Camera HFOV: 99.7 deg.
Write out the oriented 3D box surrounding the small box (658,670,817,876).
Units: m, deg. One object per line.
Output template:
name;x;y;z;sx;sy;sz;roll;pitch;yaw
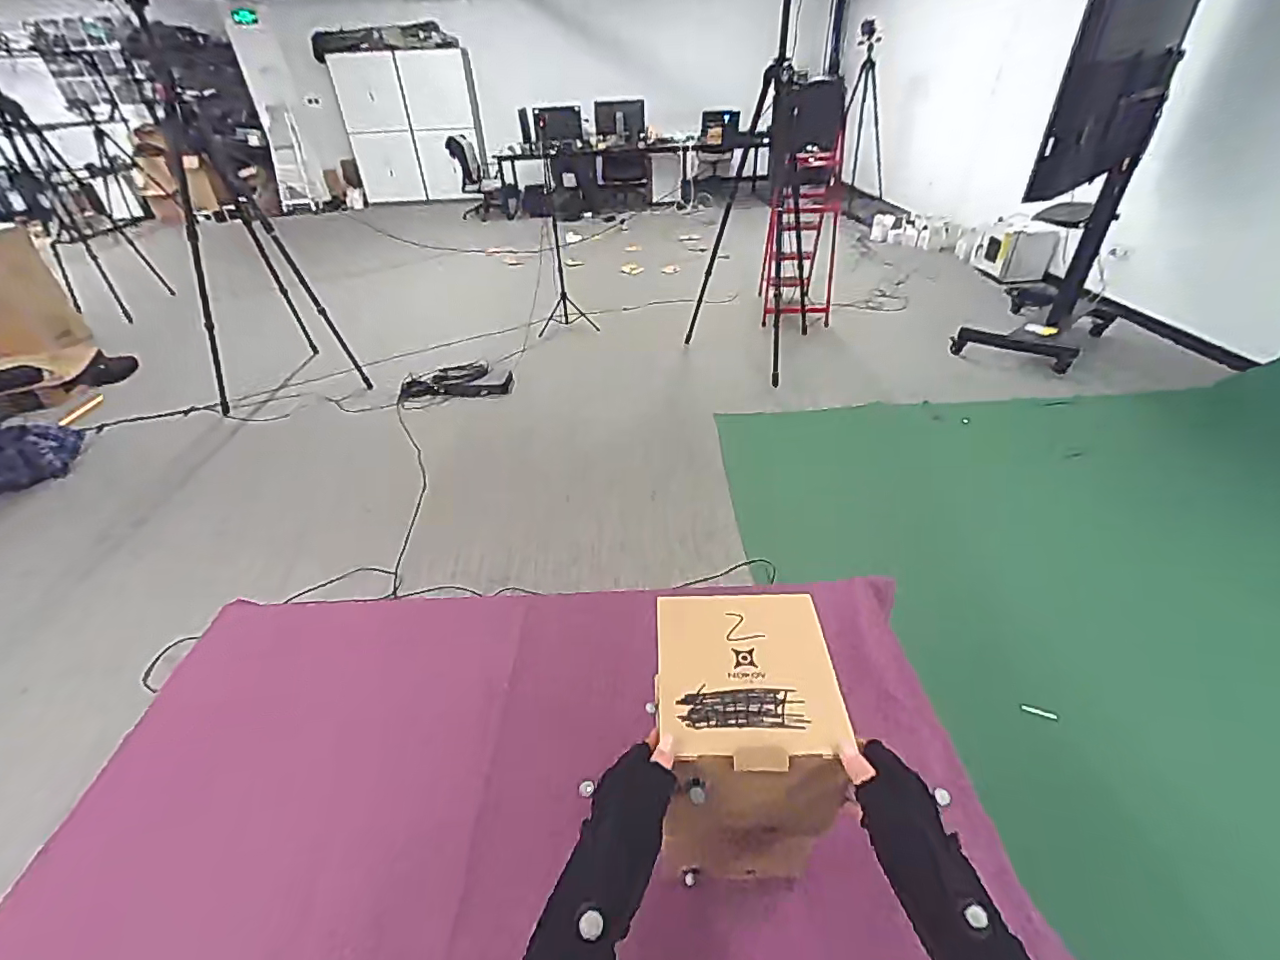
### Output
small box;0.107;0.360;0.665;0.168;0.176;0.179;1;38;2
